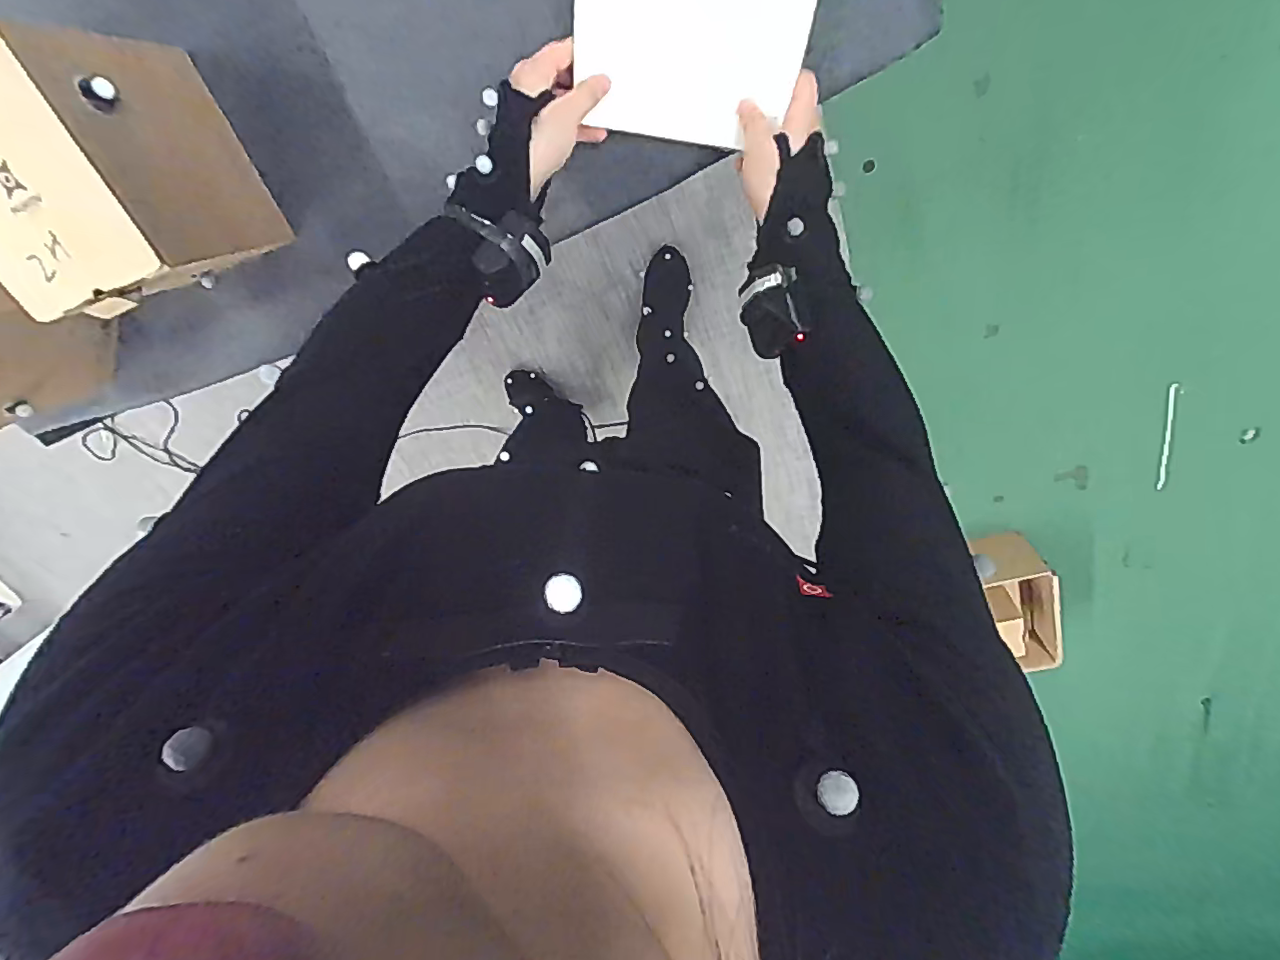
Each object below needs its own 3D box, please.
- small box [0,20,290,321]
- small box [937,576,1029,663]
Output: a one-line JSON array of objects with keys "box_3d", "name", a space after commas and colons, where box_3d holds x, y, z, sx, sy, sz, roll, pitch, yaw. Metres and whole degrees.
[{"box_3d": [-0.485, -0.273, 0.500, 0.168, 0.176, 0.179, -12, 120, 16], "name": "small box"}, {"box_3d": [0.995, 0.401, 1.576, 0.179, 0.176, 0.168, -16, 121, 18], "name": "small box"}]
